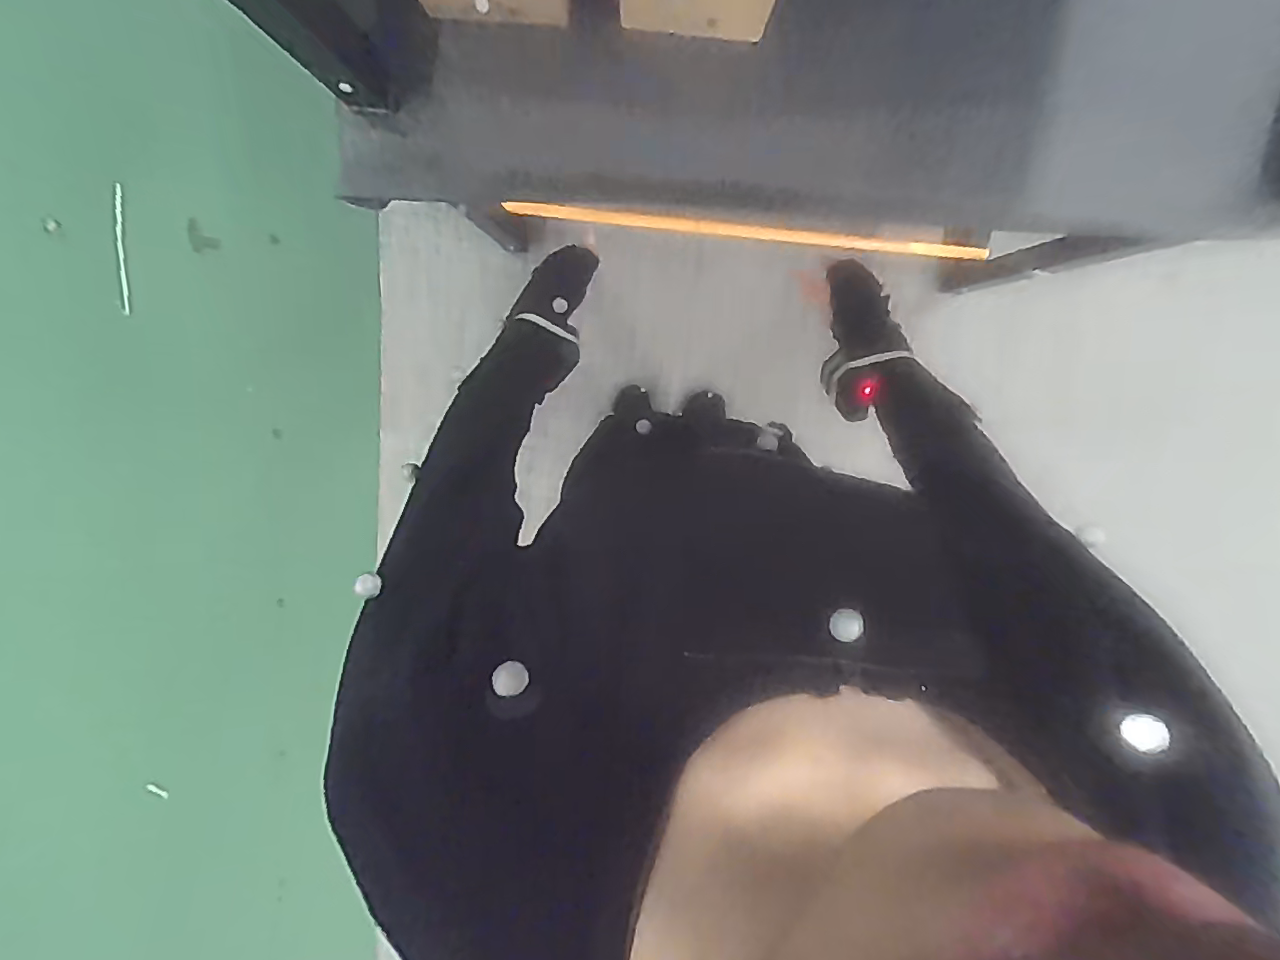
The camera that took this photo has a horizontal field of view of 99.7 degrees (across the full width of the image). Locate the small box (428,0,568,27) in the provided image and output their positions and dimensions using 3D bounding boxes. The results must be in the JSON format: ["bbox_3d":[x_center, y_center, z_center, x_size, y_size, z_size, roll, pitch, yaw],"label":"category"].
[{"bbox_3d":[-0.161,-0.603,0.534,0.168,0.176,0.179,3,102,0],"label":"small box"}]

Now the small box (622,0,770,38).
[{"bbox_3d":[0.065,-0.589,0.538,0.168,0.176,0.179,5,101,-1],"label":"small box"}]
